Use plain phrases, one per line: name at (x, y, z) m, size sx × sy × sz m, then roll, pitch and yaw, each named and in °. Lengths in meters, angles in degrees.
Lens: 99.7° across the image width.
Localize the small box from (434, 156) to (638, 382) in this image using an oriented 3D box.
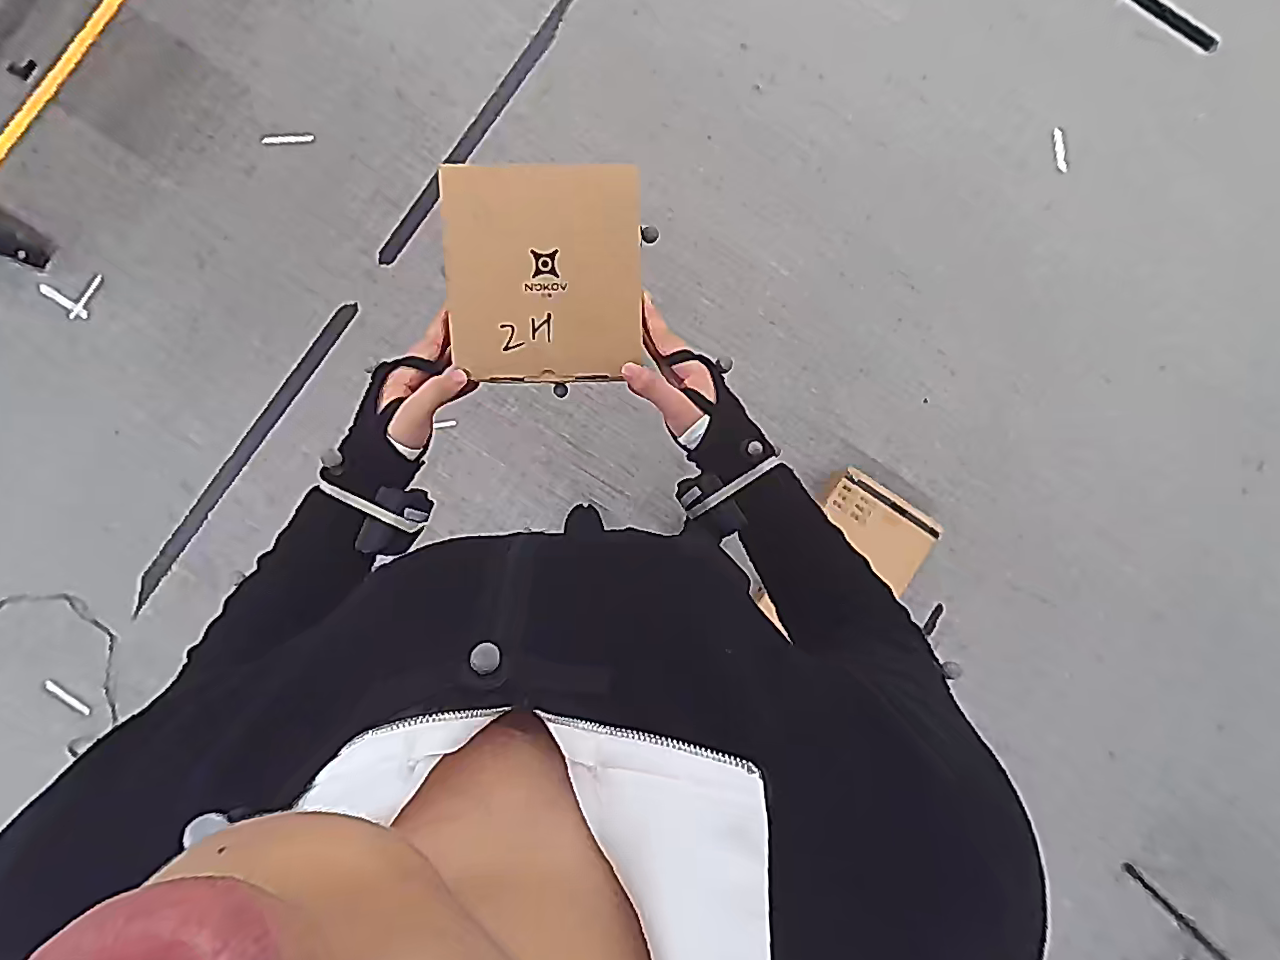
small box at (-0.089, -0.190, 0.533) m, size 0.168 × 0.176 × 0.179 m, roll -2°, pitch 99°, yaw -2°
